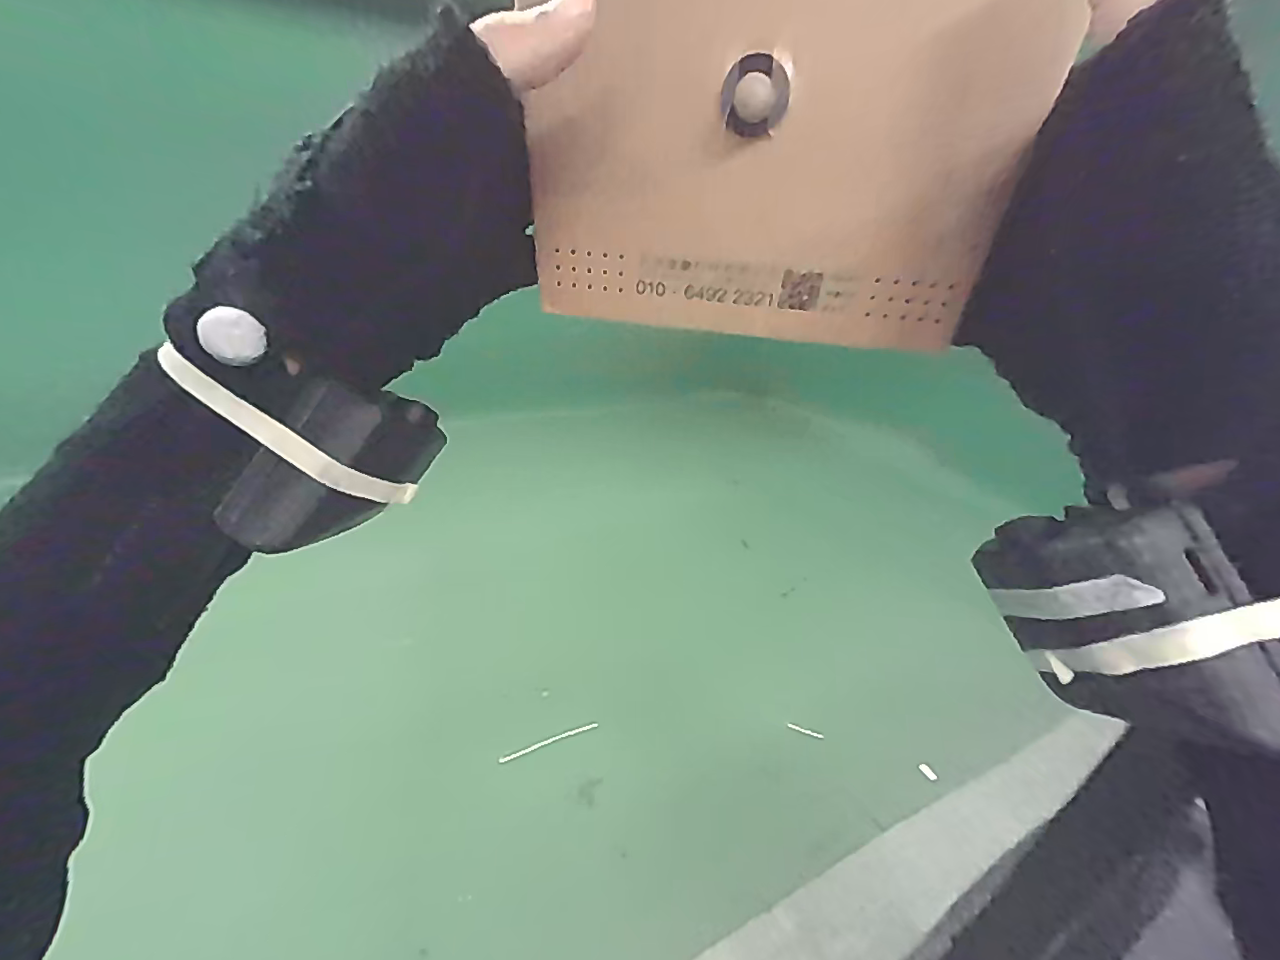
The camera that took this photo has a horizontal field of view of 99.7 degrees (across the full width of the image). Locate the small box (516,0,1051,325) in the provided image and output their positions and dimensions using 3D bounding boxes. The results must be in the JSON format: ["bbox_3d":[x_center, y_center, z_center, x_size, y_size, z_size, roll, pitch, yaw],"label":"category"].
[{"bbox_3d":[0.053,-0.180,0.233,0.168,0.176,0.179,8,39,6],"label":"small box"}]
